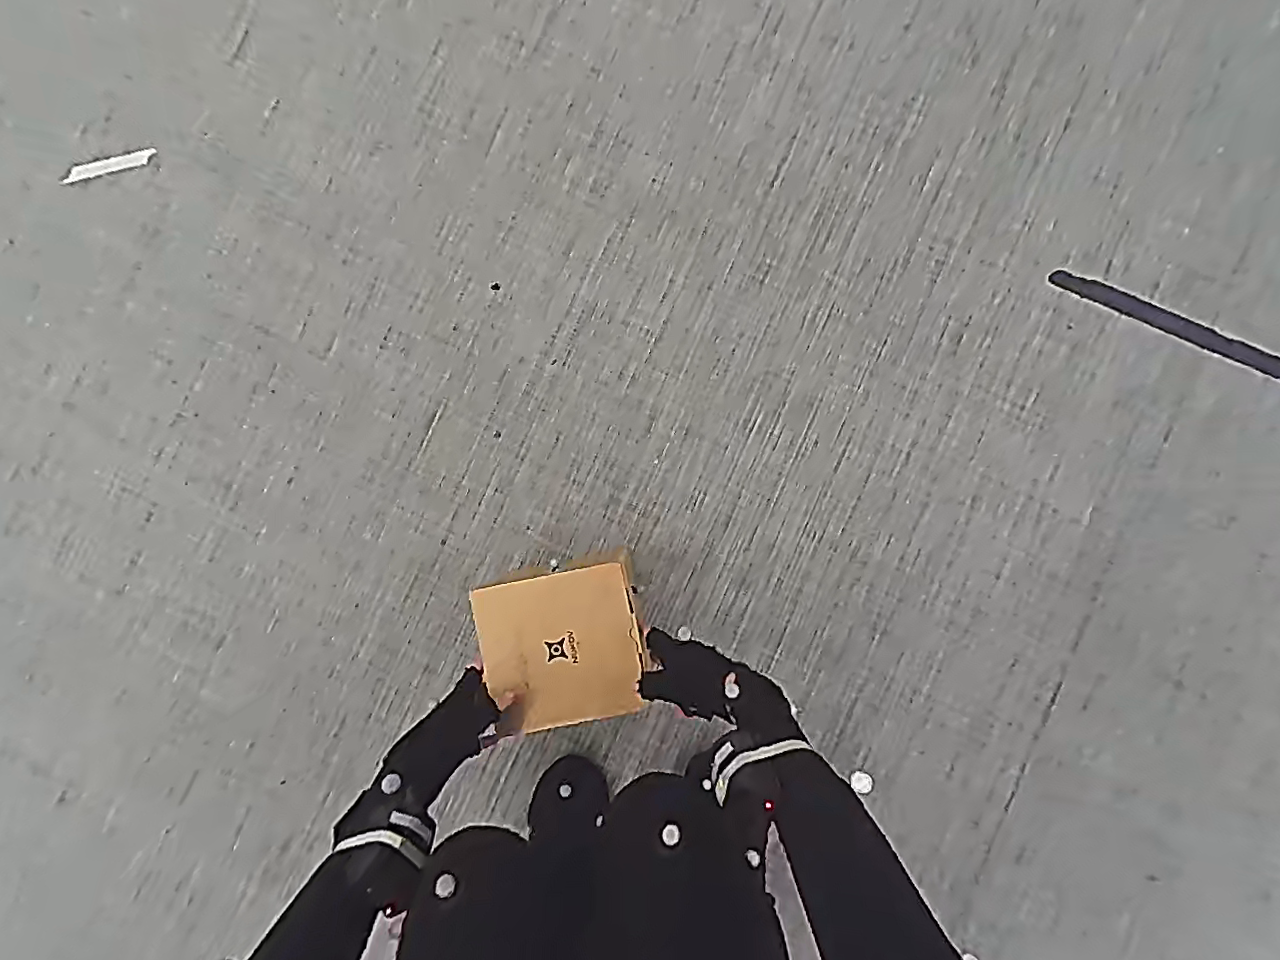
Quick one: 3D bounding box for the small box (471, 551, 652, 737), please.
[{"bbox_3d":[-0.086,0.187,0.668,0.179,0.176,0.168,-12,86,1],"label":"small box"}]
